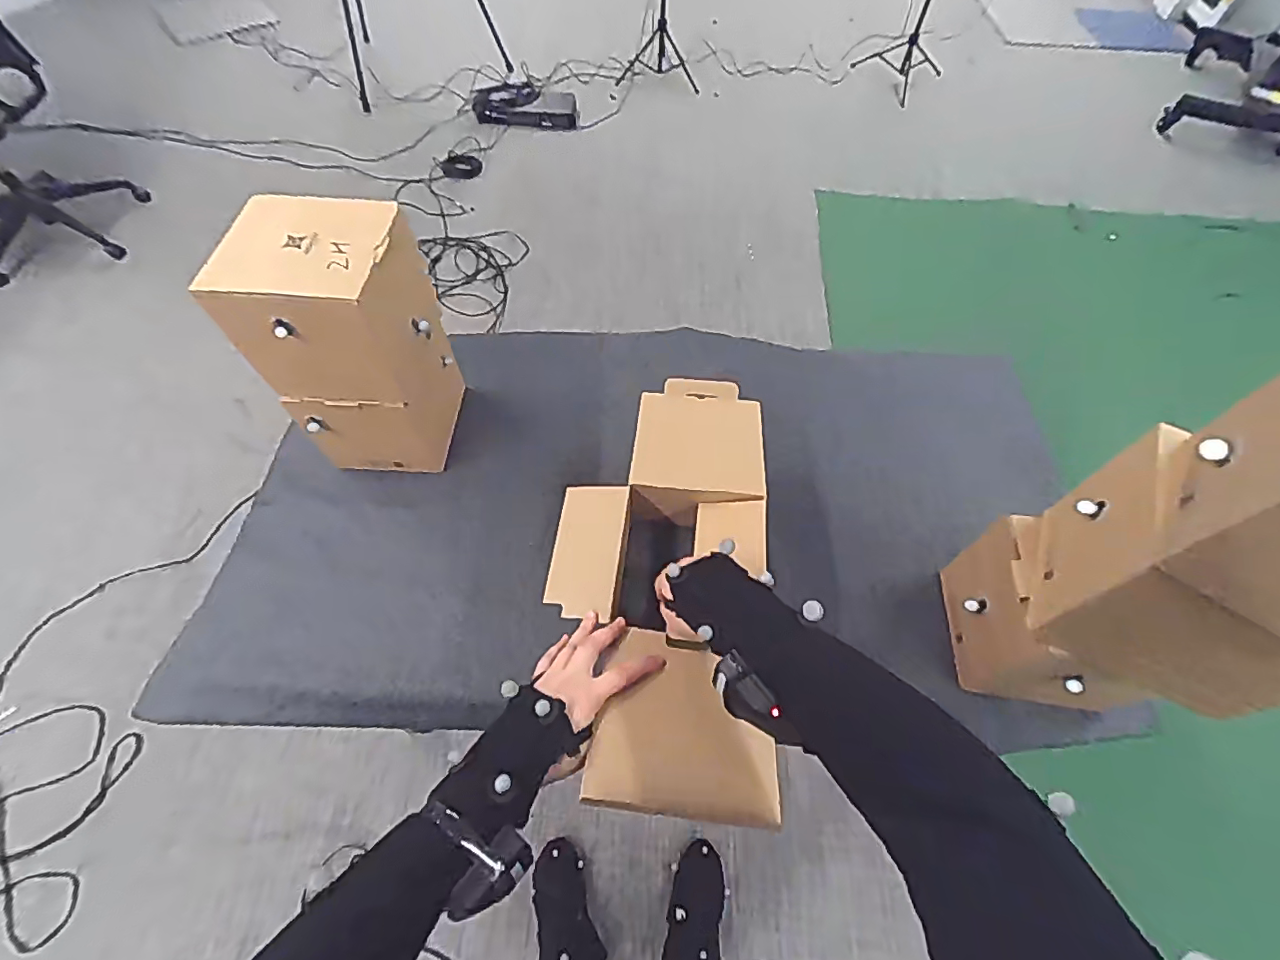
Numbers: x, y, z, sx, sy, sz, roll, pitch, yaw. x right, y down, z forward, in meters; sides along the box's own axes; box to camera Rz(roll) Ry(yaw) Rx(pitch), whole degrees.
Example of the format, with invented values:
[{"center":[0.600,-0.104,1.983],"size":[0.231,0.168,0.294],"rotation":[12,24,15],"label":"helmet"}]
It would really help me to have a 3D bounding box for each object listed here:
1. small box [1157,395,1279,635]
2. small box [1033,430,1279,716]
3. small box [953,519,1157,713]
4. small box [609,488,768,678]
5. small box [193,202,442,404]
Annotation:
[{"center":[0.507,0.020,0.347],"size":[0.179,0.176,0.168],"rotation":[35,62,20],"label":"small box"},{"center":[0.507,0.091,0.497],"size":[0.179,0.176,0.168],"rotation":[26,59,14],"label":"small box"},{"center":[0.501,0.167,0.643],"size":[0.179,0.176,0.168],"rotation":[7,57,4],"label":"small box"},{"center":[0.059,0.131,0.658],"size":[0.168,0.176,0.179],"rotation":[5,58,3],"label":"small box"},{"center":[-0.366,-0.208,0.656],"size":[0.179,0.176,0.168],"rotation":[3,60,0],"label":"small box"}]
